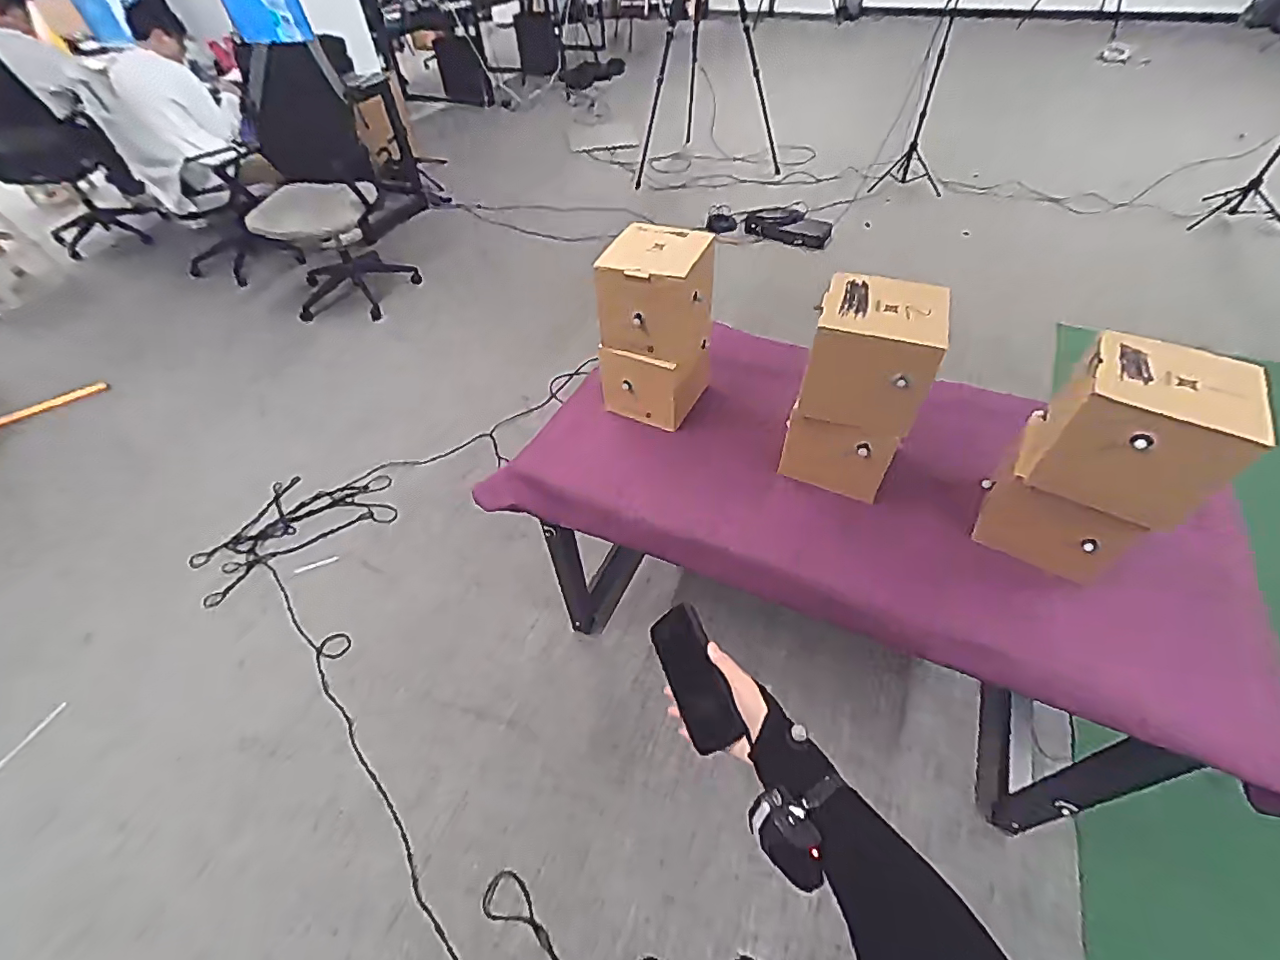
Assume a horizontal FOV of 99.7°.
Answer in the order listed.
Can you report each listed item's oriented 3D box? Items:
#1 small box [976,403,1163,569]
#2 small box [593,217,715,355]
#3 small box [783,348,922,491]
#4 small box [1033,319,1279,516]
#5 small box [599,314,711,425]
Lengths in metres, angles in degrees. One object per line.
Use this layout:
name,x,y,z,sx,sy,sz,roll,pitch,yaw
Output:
small box,0.669,0.014,0.847,0.179,0.176,0.168,25,54,24
small box,0.032,-0.355,0.996,0.168,0.176,0.179,16,52,16
small box,0.374,-0.104,0.969,0.179,0.176,0.168,19,53,20
small box,0.661,-0.081,0.713,0.179,0.176,0.168,25,55,23
small box,0.037,-0.241,1.115,0.168,0.176,0.179,20,53,20
